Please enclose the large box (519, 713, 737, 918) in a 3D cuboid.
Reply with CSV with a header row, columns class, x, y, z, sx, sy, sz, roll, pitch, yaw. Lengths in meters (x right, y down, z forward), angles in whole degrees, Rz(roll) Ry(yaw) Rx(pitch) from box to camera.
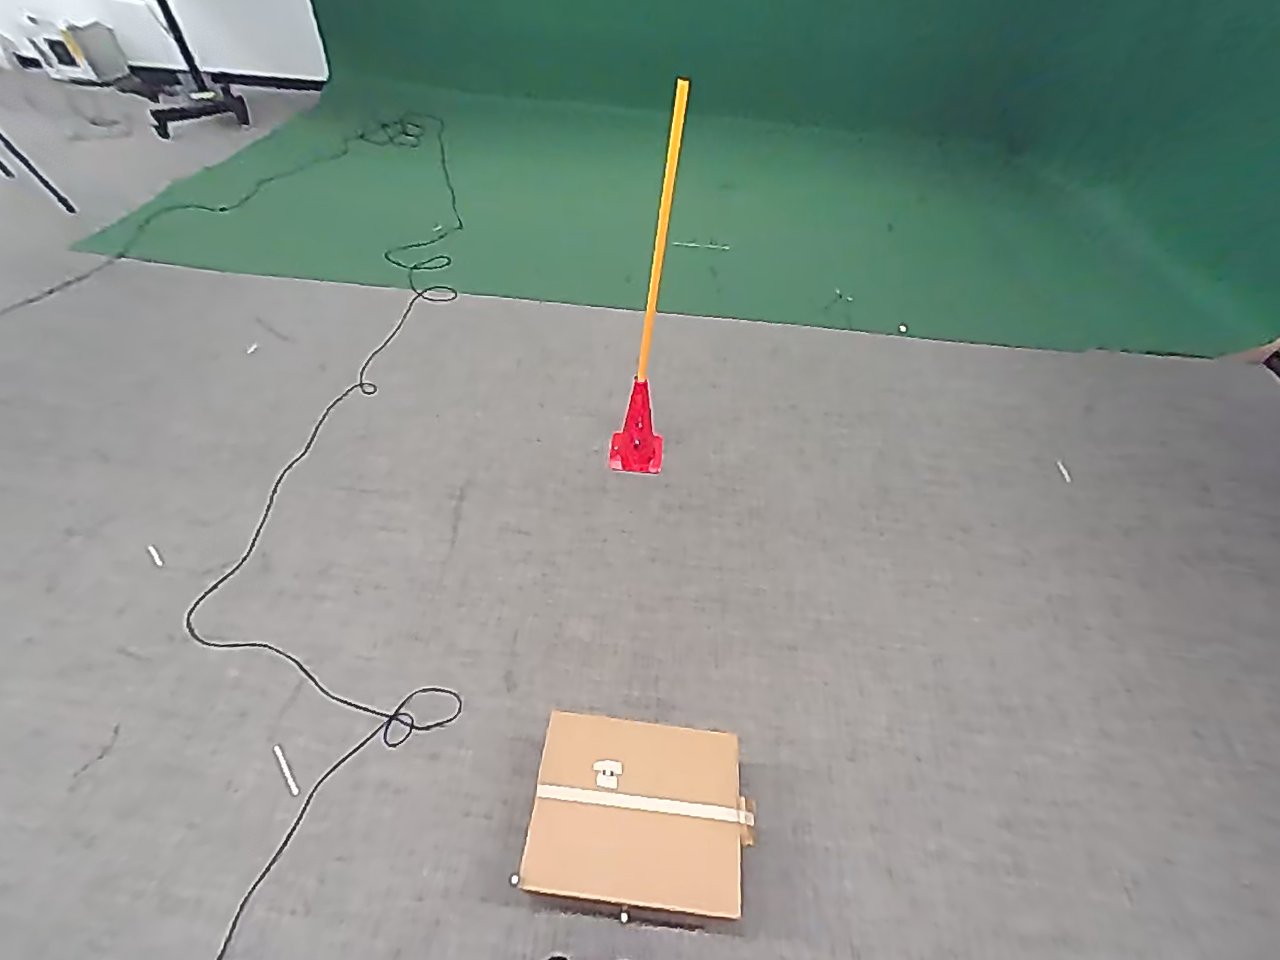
class,x,y,z,sx,sy,sz,roll,pitch,yaw
large box,-0.013,0.736,1.180,0.408,0.320,0.320,7,48,2
